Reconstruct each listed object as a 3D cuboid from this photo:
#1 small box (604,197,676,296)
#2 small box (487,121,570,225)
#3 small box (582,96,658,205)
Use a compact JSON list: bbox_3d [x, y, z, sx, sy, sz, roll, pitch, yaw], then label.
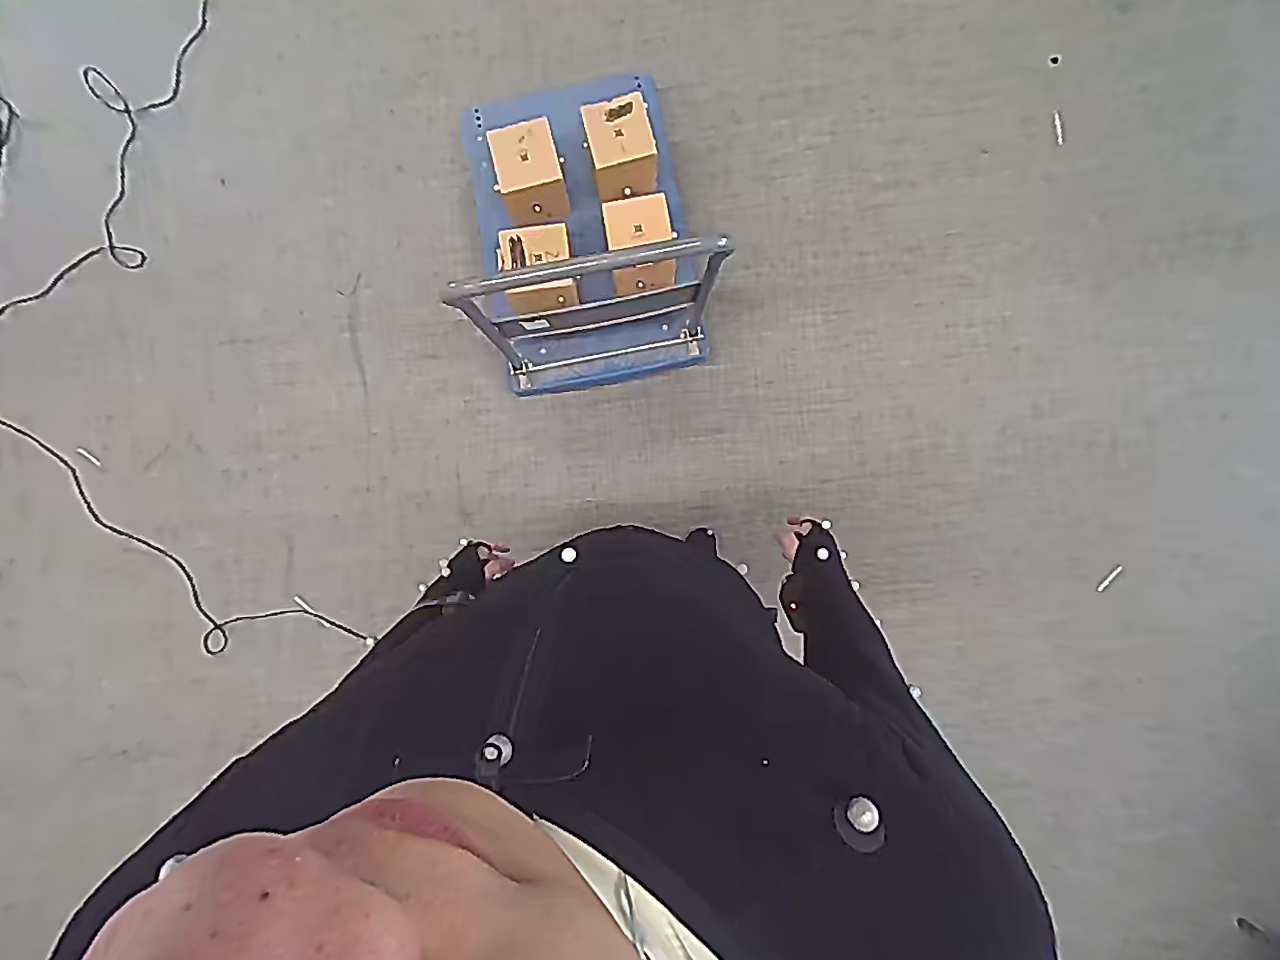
[{"bbox_3d":[-0.002,-0.619,1.449,0.168,0.176,0.179,-10,86,0],"label":"small box"},{"bbox_3d":[-0.296,-0.820,1.467,0.168,0.176,0.179,-14,86,-1],"label":"small box"},{"bbox_3d":[-0.052,-0.884,1.466,0.168,0.176,0.179,-14,87,1],"label":"small box"}]
